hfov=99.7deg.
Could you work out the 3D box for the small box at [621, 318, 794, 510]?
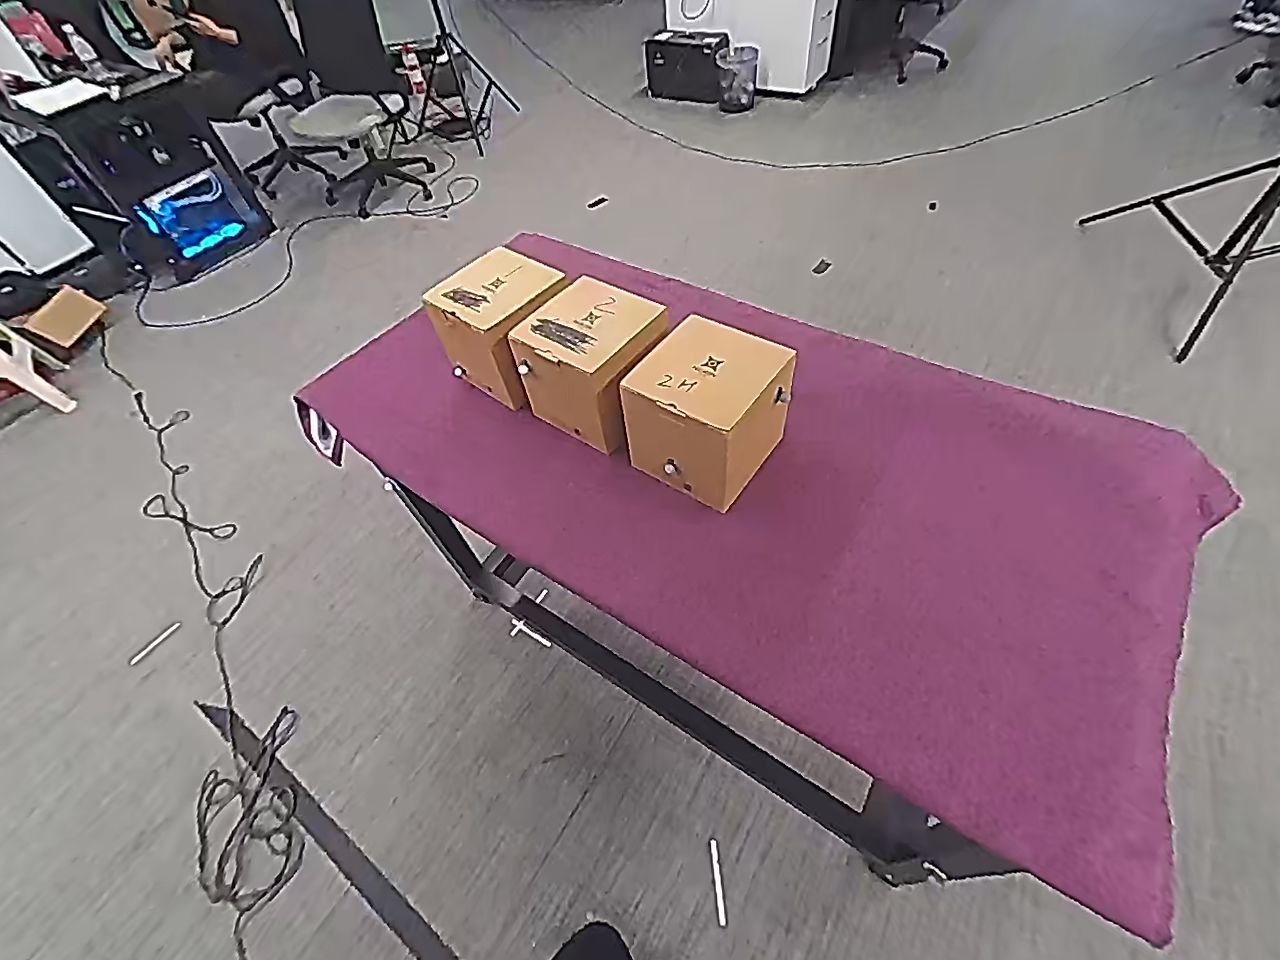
[{"bbox_3d":[0.095,-0.093,0.765,0.168,0.176,0.179,27,60,26],"label":"small box"}]
